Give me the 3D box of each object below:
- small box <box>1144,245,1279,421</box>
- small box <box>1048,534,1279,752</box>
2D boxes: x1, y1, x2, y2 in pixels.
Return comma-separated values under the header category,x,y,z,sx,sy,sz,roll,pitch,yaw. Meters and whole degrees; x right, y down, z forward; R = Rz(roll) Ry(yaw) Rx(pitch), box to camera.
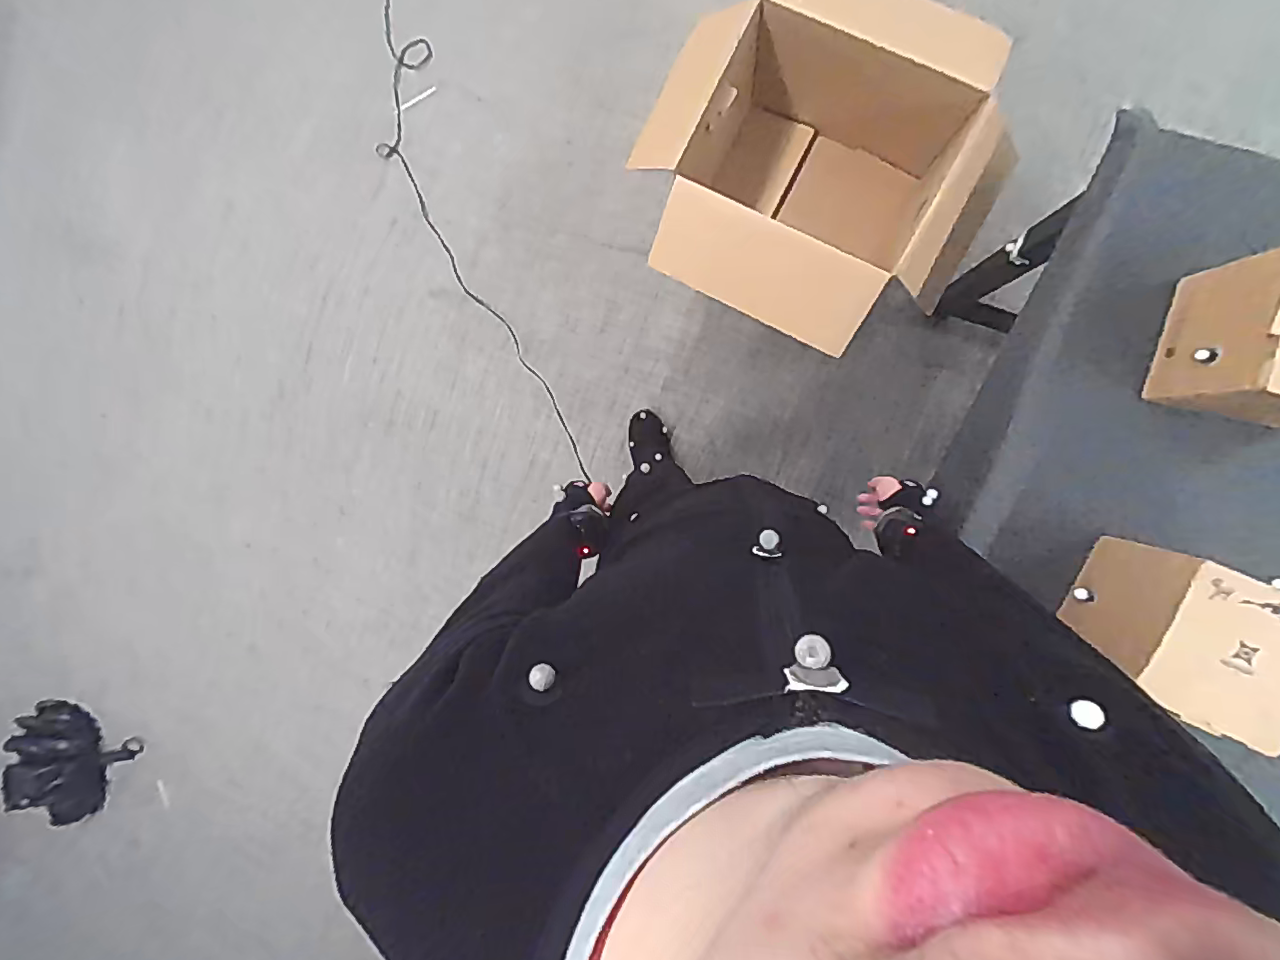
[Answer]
category,x,y,z,sx,sy,sz,roll,pitch,yaw
small box,0.769,-0.165,0.641,0.179,0.176,0.168,14,98,4
small box,0.667,0.189,0.680,0.168,0.176,0.179,24,98,5
